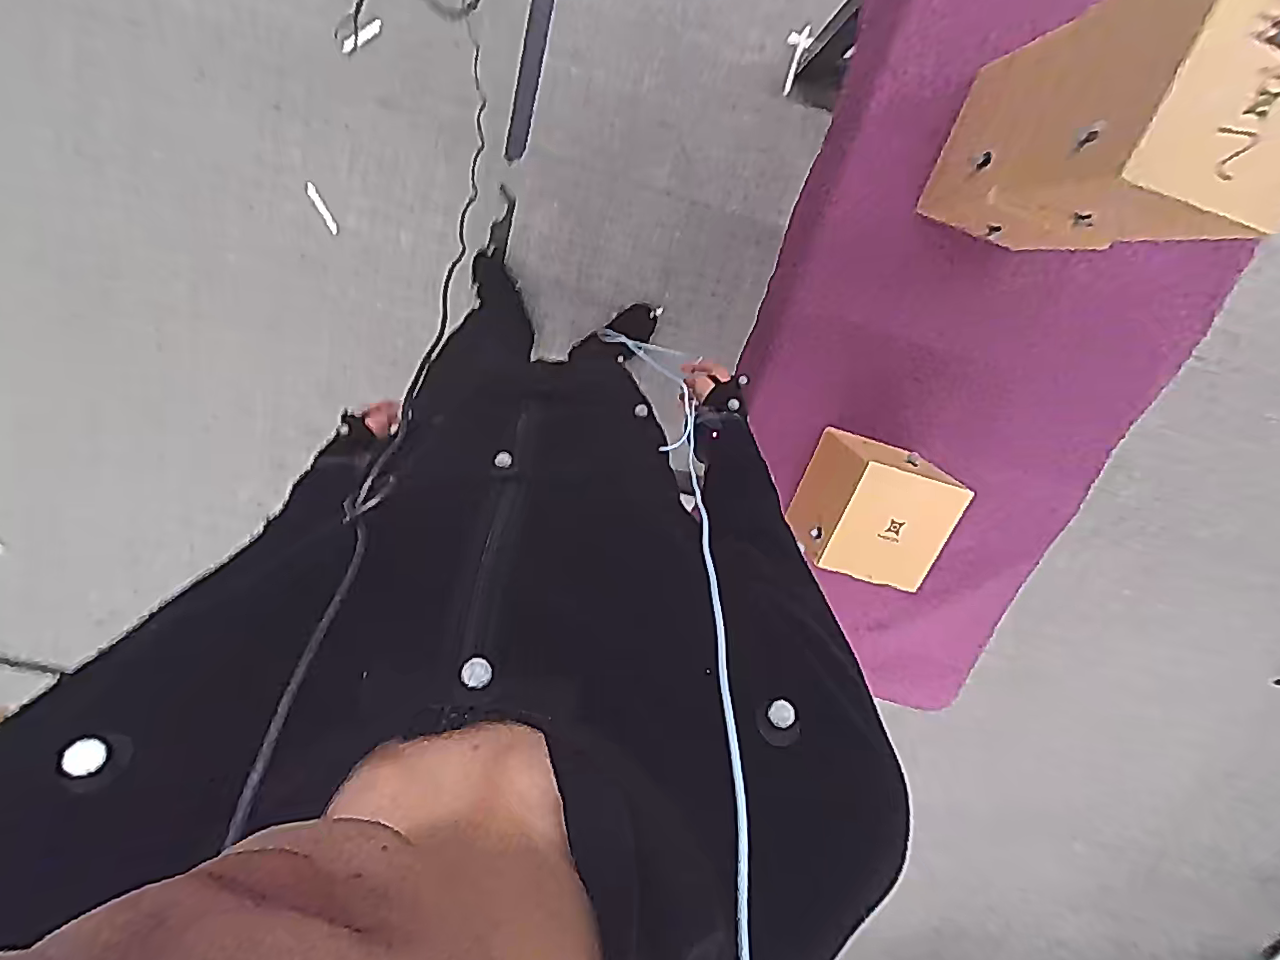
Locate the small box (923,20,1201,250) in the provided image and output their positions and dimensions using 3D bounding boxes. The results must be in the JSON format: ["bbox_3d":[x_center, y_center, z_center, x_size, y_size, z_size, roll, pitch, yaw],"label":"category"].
[{"bbox_3d":[0.483,-0.396,0.659,0.168,0.176,0.179,16,112,-8],"label":"small box"}]

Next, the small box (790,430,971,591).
[{"bbox_3d":[0.354,0.039,0.839,0.168,0.176,0.179,15,112,-8],"label":"small box"}]
